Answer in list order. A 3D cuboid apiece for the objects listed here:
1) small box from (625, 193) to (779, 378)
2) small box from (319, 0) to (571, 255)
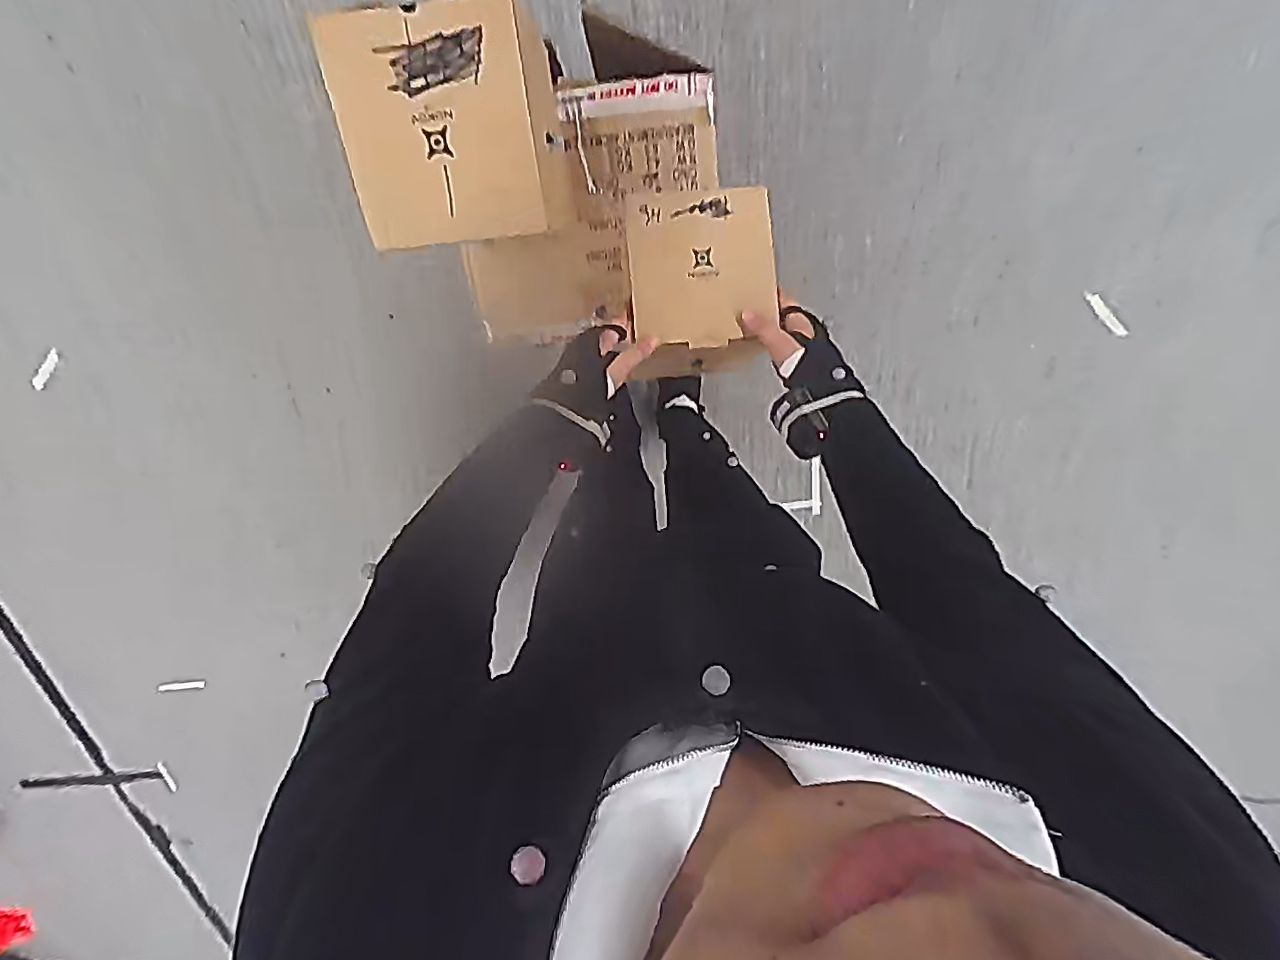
[{"bbox_3d":[0.069,-0.229,0.682,0.168,0.176,0.179,-4,89,-2],"label":"small box"},{"bbox_3d":[-0.168,-0.325,0.533,0.168,0.176,0.179,-5,115,4],"label":"small box"}]
